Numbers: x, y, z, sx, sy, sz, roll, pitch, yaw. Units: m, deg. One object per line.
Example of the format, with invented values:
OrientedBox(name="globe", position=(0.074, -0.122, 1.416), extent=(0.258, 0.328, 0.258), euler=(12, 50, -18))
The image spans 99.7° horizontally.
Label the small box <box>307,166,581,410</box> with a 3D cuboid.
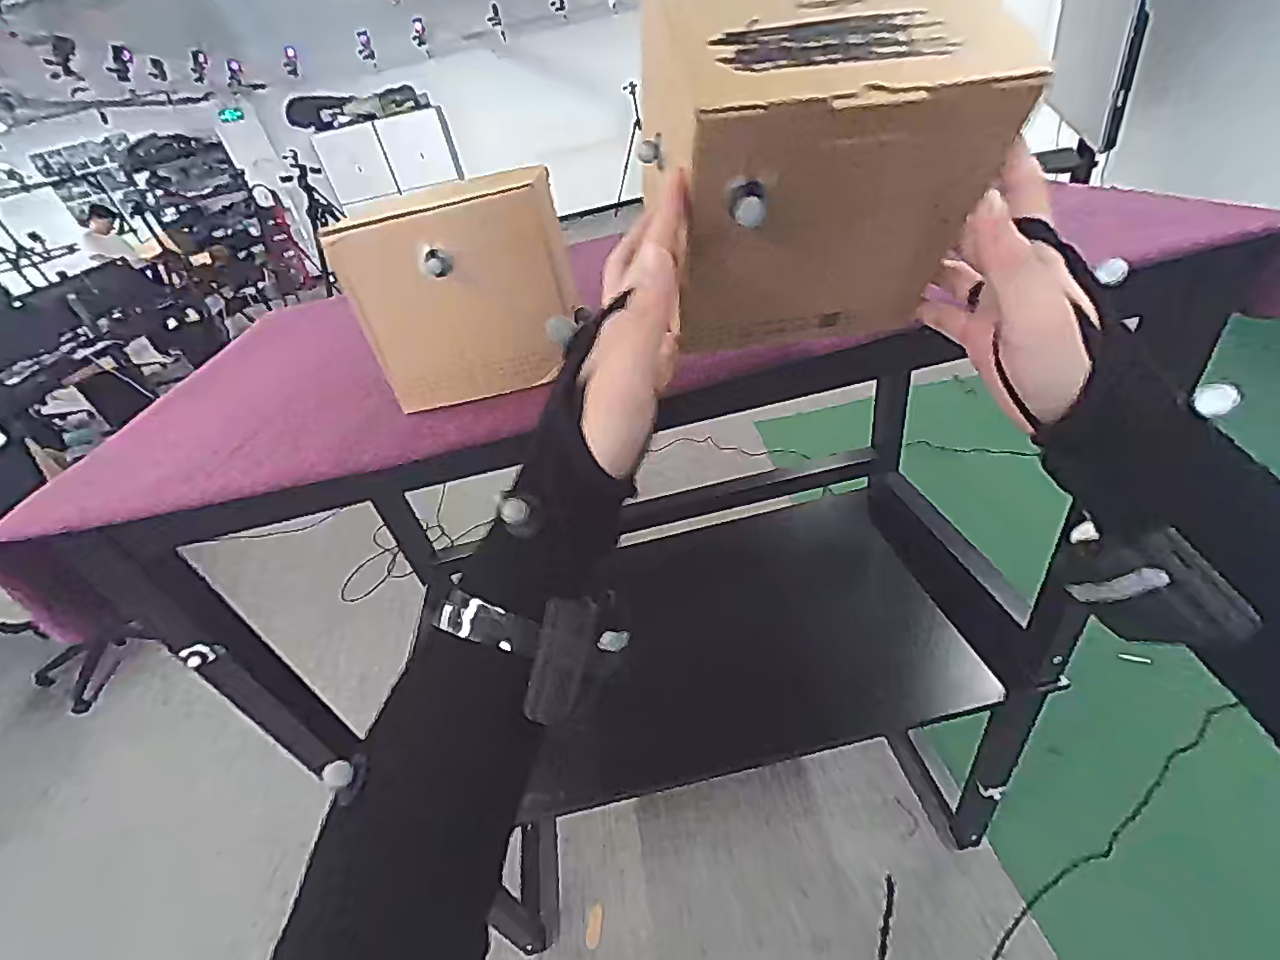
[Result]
OrientedBox(name="small box", position=(-0.165, -0.185, 0.524), extent=(0.179, 0.176, 0.168), euler=(-12, 35, 2))
